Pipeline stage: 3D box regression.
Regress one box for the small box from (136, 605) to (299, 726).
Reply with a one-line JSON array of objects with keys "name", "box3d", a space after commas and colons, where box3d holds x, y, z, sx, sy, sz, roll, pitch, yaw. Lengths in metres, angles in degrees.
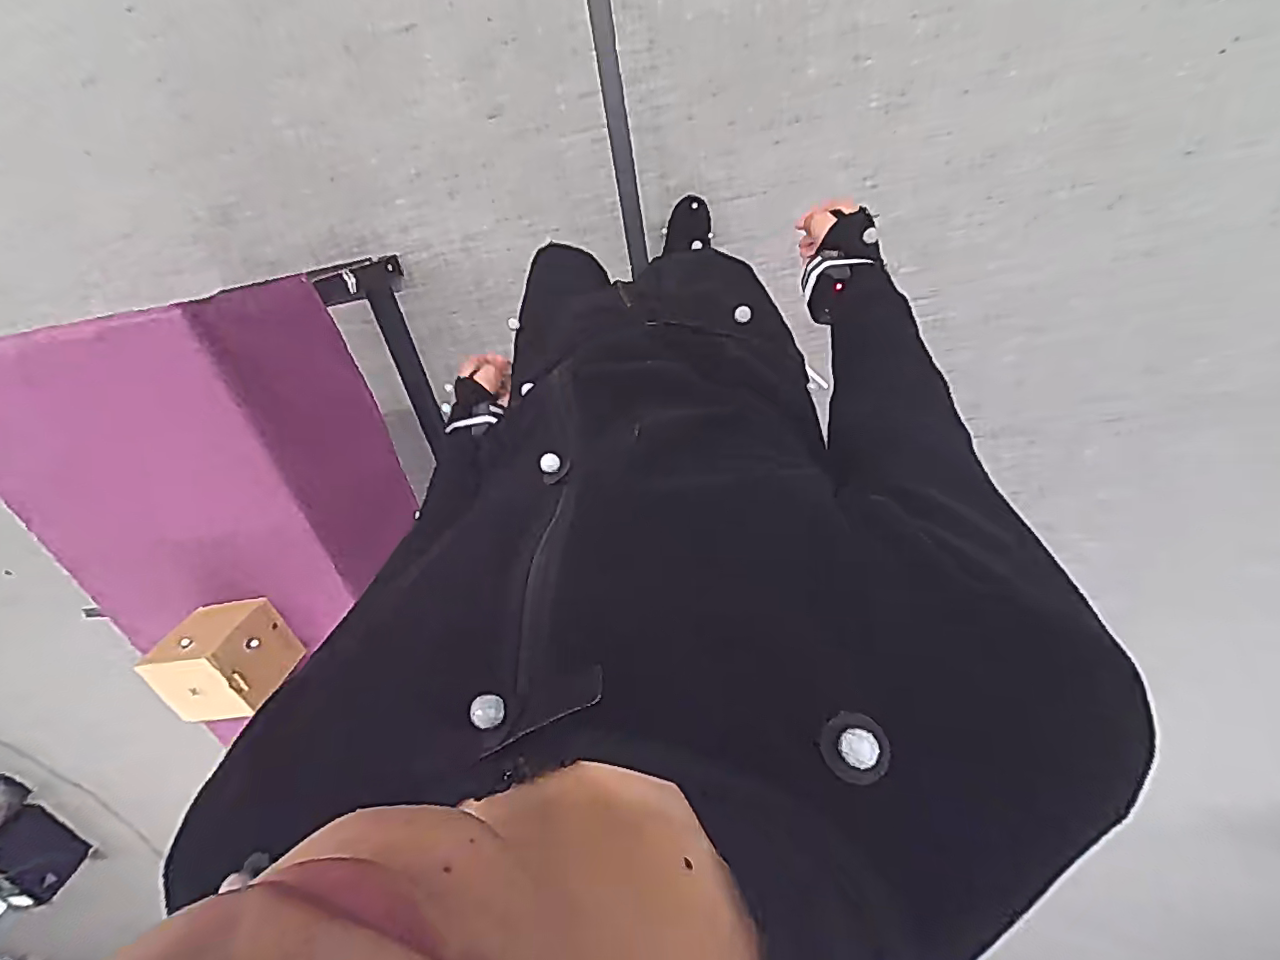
[{"name": "small box", "box3d": [-0.847, 0.375, 1.111, 0.179, 0.176, 0.168, -9, 118, 11]}]
